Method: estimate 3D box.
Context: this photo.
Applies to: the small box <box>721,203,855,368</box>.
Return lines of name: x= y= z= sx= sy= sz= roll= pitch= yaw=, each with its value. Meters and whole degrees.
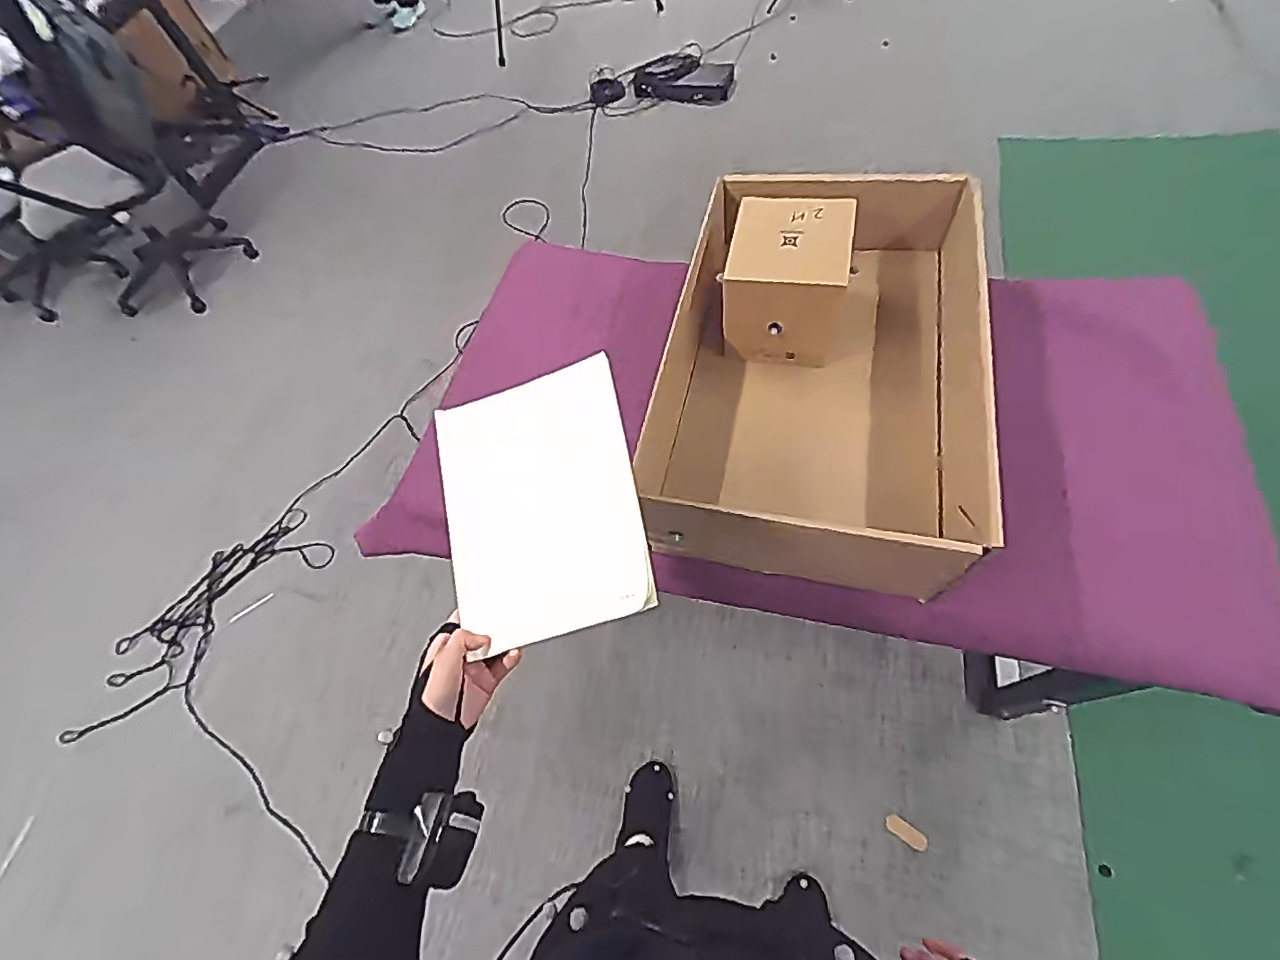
small box: x=0.223 y=-0.293 z=0.828 sx=0.168 sy=0.176 sz=0.179 roll=9 pitch=64 yaw=14
